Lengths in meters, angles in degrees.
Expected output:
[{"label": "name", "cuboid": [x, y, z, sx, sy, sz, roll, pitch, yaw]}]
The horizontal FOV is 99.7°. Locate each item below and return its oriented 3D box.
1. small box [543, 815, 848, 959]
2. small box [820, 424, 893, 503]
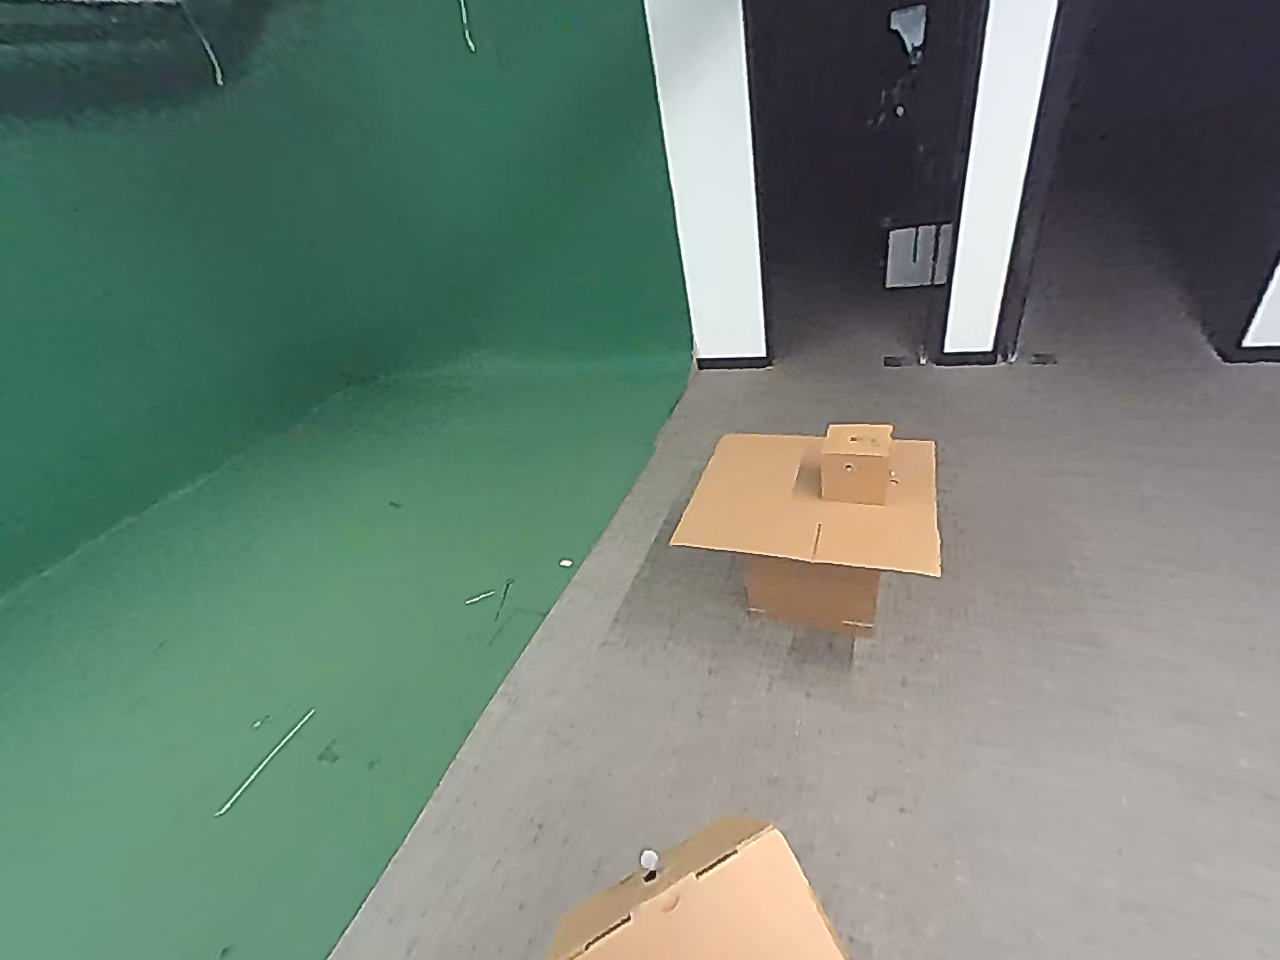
[{"label": "small box", "cuboid": [0.048, 0.356, 0.360, 0.168, 0.176, 0.179, -22, 62, -15]}, {"label": "small box", "cuboid": [0.632, -0.049, 1.572, 0.179, 0.176, 0.168, 4, 38, 28]}]
